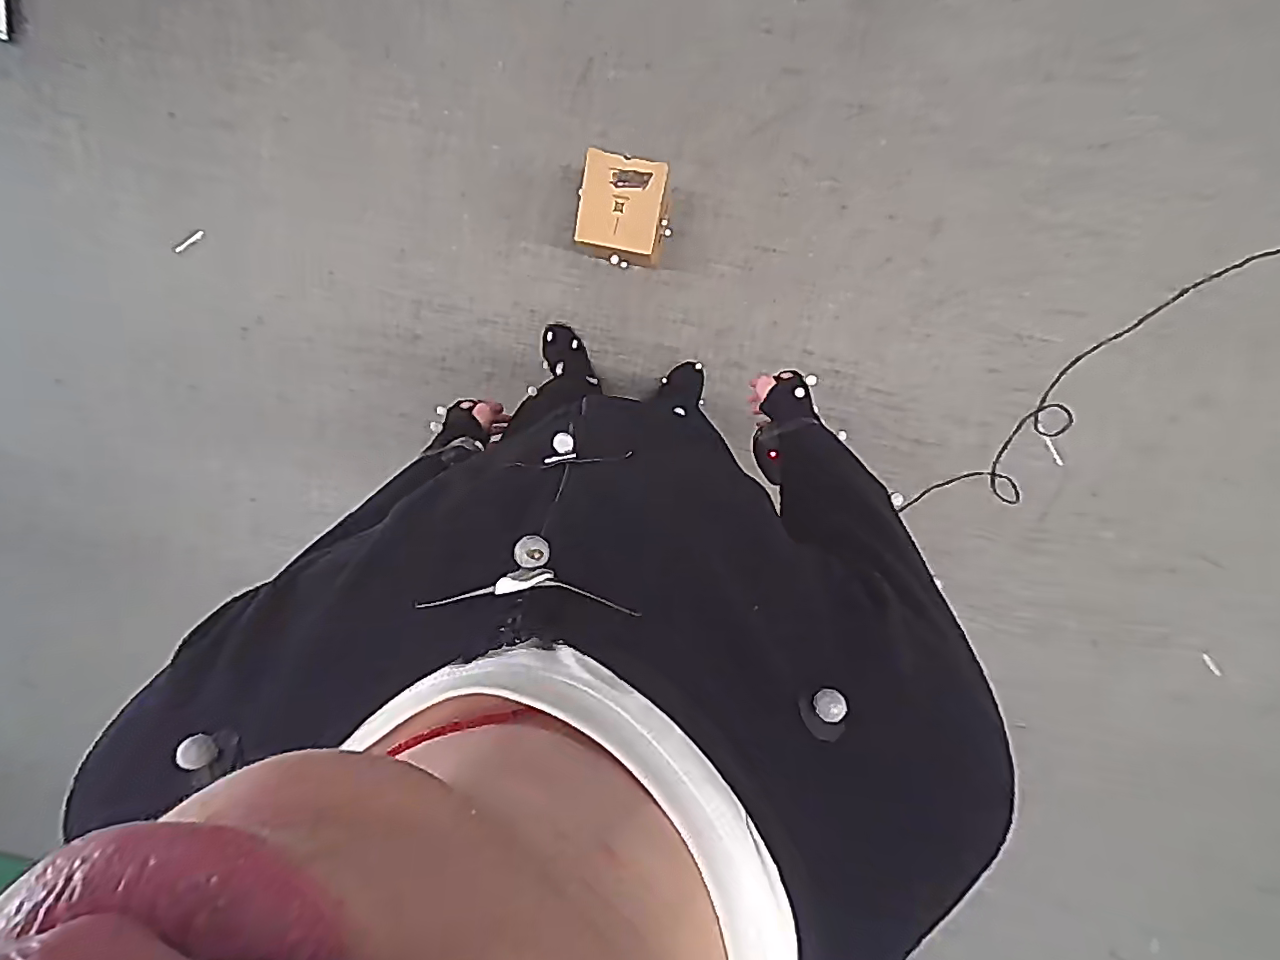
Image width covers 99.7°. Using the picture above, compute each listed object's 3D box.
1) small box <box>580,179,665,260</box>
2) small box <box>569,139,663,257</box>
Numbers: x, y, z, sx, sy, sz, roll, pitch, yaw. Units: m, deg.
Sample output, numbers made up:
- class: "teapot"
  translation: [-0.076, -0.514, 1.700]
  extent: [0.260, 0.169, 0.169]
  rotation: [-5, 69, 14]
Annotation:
- class: "small box"
  translation: [-0.042, -0.649, 1.325]
  extent: [0.179, 0.176, 0.168]
  rotation: [13, 105, -1]
- class: "small box"
  translation: [-0.048, -0.598, 1.168]
  extent: [0.168, 0.176, 0.179]
  rotation: [12, 106, 0]
